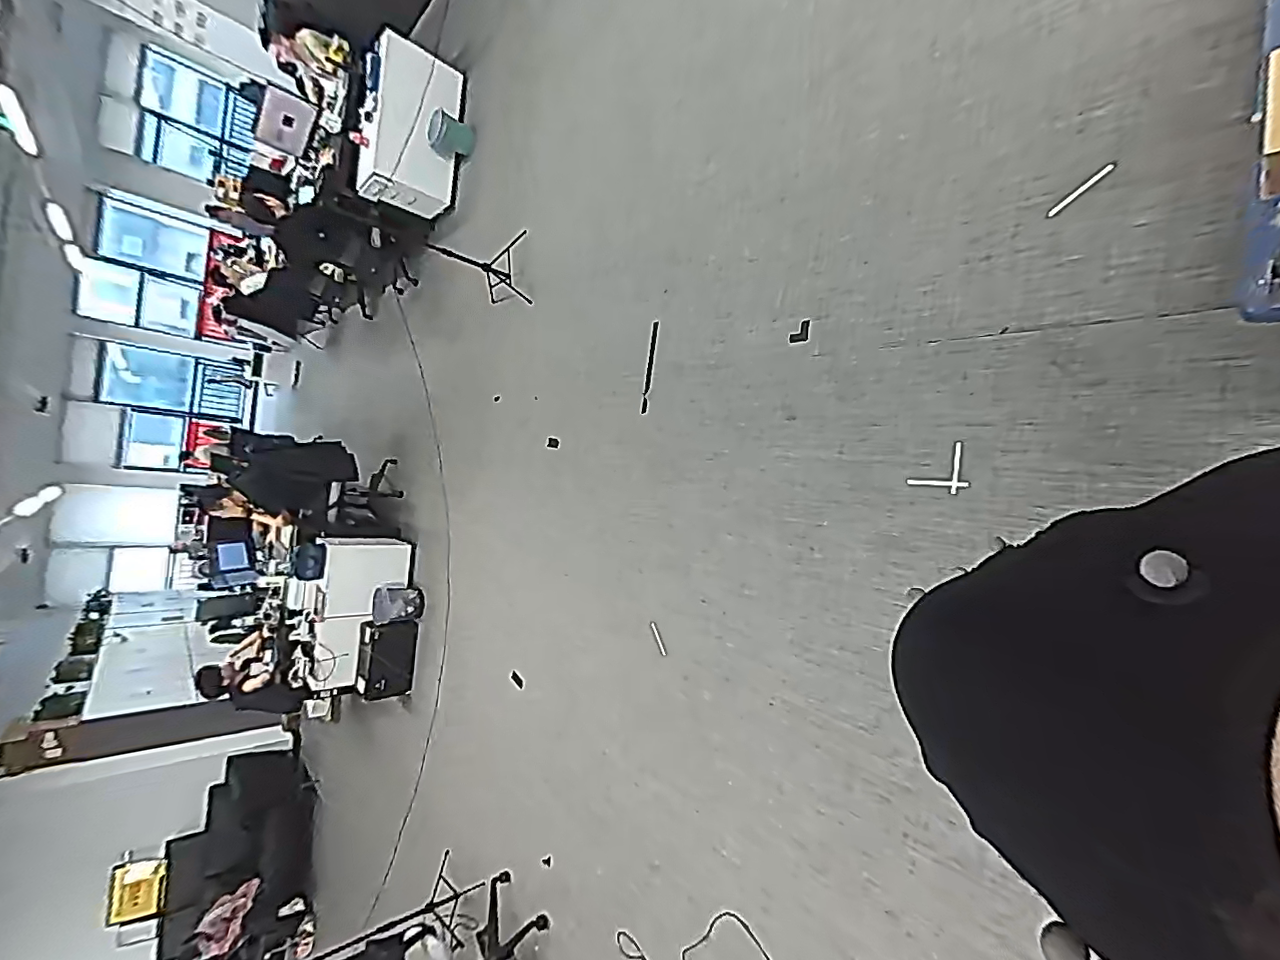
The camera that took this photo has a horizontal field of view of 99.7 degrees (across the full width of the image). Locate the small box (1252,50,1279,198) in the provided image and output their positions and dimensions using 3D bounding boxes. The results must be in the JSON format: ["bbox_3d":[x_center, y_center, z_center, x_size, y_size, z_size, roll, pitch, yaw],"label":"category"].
[{"bbox_3d":[1.073,-0.565,0.826,0.179,0.176,0.168,3,88,46],"label":"small box"}]
